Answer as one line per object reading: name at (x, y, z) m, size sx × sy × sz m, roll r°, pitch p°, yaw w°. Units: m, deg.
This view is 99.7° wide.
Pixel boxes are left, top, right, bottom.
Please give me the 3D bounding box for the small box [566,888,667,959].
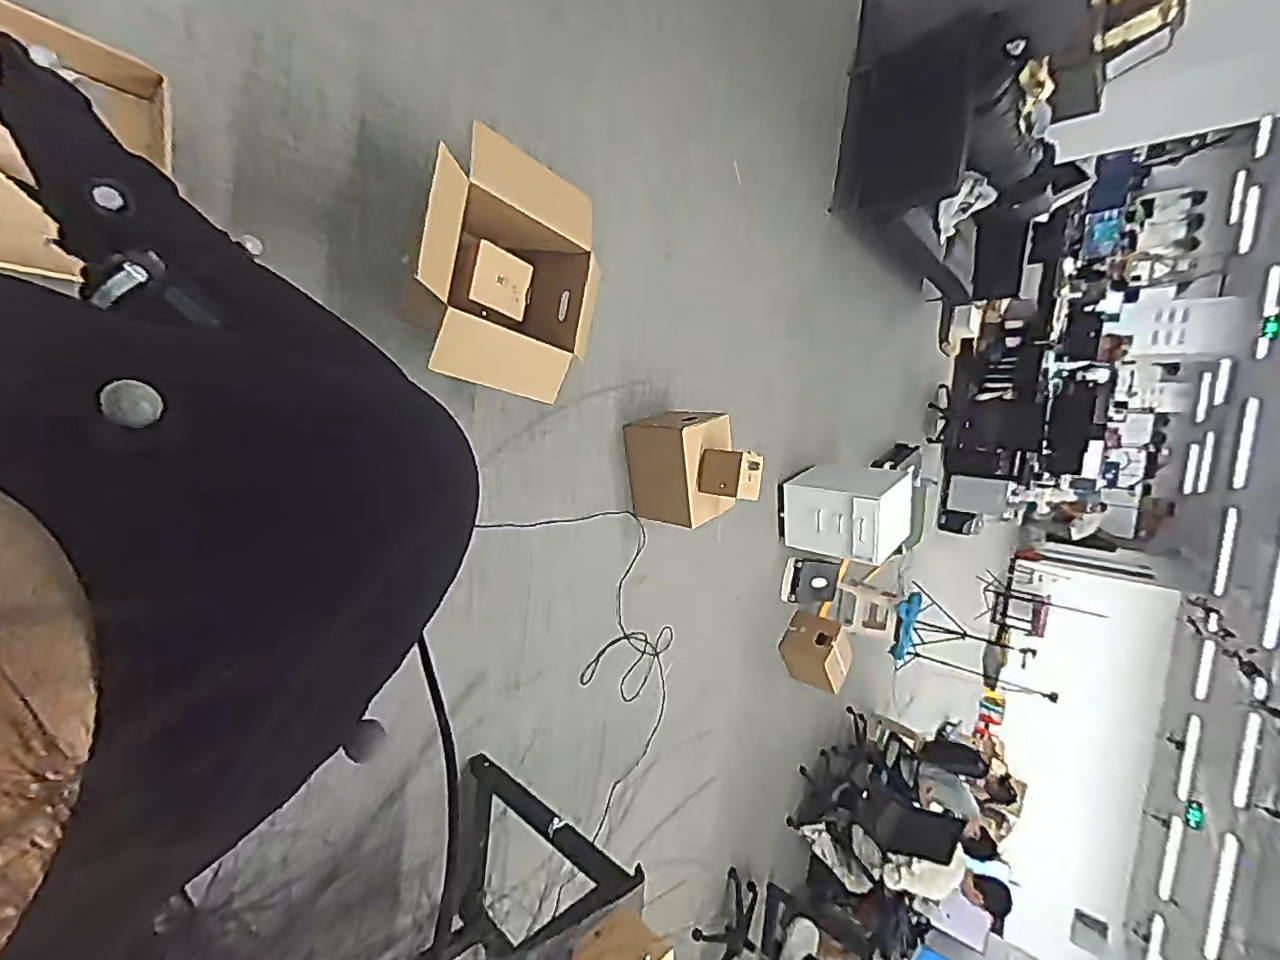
small box at (-0.060, 1.114, 1.254) m, size 0.168 × 0.176 × 0.179 m, roll -5°, pitch 101°, yaw -47°
